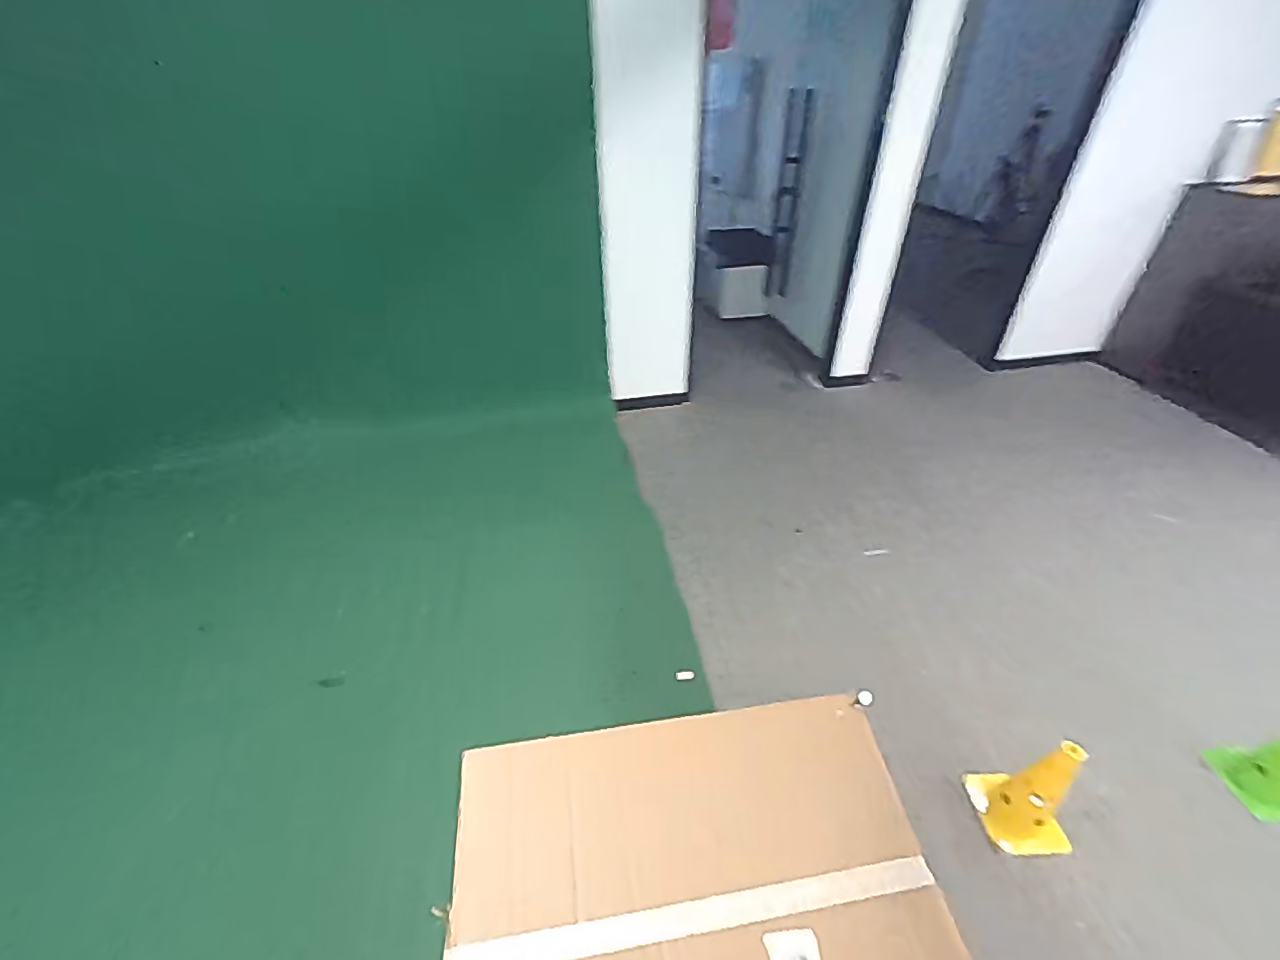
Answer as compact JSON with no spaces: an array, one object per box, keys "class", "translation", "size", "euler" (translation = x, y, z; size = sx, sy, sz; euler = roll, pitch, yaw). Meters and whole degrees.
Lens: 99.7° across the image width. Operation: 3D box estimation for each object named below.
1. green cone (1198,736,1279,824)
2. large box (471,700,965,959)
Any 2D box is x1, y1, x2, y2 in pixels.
[{"class":"green cone","translation":[1.778,0.739,1.463],"size":[0.202,0.368,0.200],"euler":[-5,36,-3]},{"class":"large box","translation":[0.055,0.467,0.562],"size":[0.408,0.320,0.320],"euler":[-5,48,-6]}]
